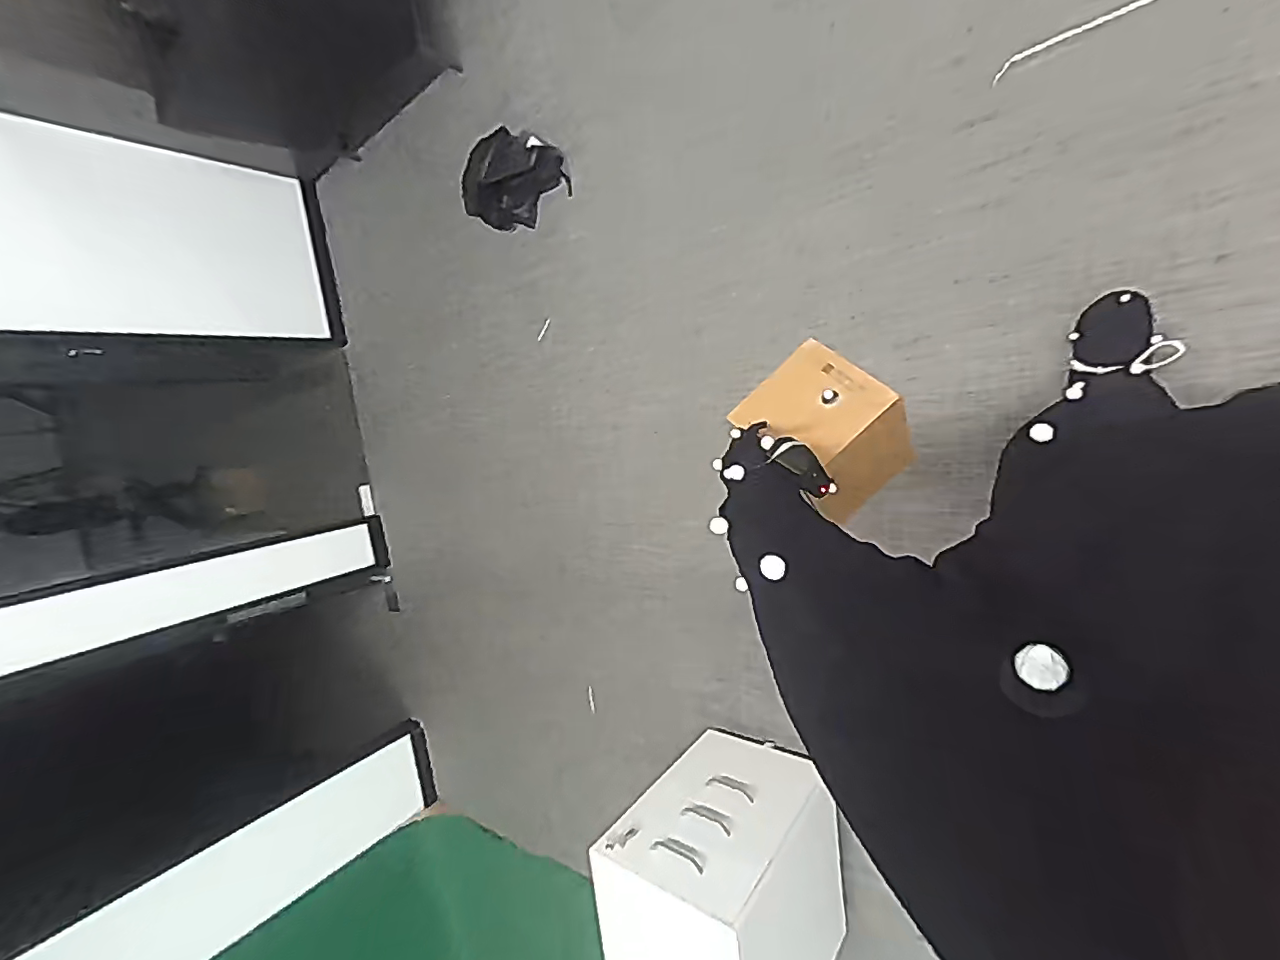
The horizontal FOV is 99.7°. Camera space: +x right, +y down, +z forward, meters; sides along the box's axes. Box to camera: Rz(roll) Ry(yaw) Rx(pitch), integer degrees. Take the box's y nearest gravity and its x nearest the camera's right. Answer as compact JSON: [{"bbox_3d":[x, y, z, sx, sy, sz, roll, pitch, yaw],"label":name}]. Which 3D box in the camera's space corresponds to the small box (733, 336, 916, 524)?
[{"bbox_3d":[0.273,-0.071,0.785,0.176,0.179,0.168,-44,50,7],"label":"small box"}]
